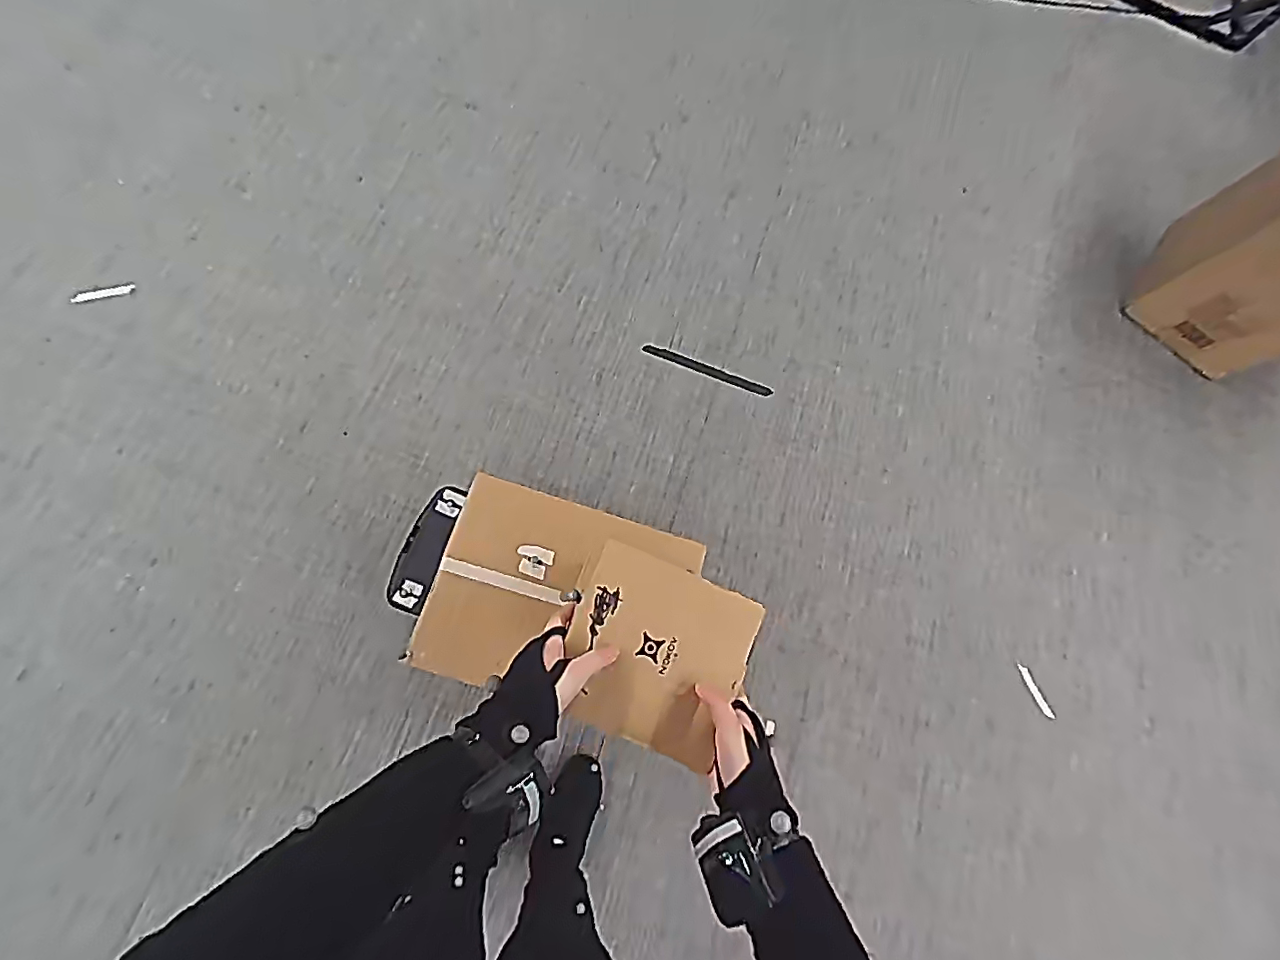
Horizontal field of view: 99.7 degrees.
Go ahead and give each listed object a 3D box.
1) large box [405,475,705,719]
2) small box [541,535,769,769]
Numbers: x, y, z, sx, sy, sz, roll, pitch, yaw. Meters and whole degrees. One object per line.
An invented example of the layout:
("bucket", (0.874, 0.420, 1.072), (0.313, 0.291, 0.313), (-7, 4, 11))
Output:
("large box", (-0.137, 0.226, 0.991), (0.408, 0.320, 0.320), (18, 72, -3))
("small box", (0.006, 0.175, 0.586), (0.179, 0.176, 0.168), (25, 73, -4))
